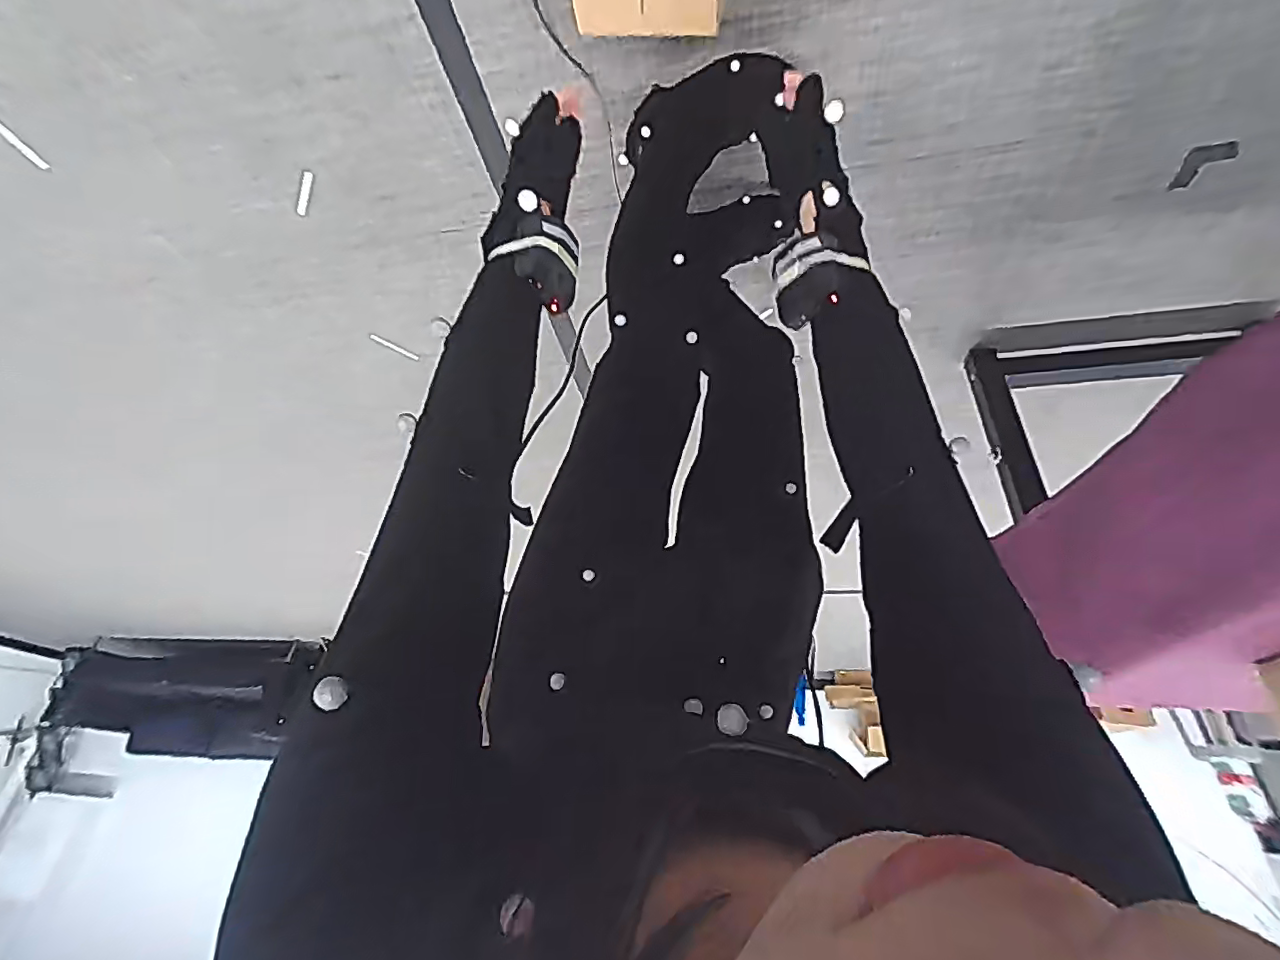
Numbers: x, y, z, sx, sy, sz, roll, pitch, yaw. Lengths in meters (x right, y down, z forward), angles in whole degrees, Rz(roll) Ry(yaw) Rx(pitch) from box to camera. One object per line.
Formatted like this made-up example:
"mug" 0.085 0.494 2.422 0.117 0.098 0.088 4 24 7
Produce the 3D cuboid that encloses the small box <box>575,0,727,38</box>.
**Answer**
"small box" 0.017 -0.619 0.577 0.168 0.176 0.179 7 156 9
